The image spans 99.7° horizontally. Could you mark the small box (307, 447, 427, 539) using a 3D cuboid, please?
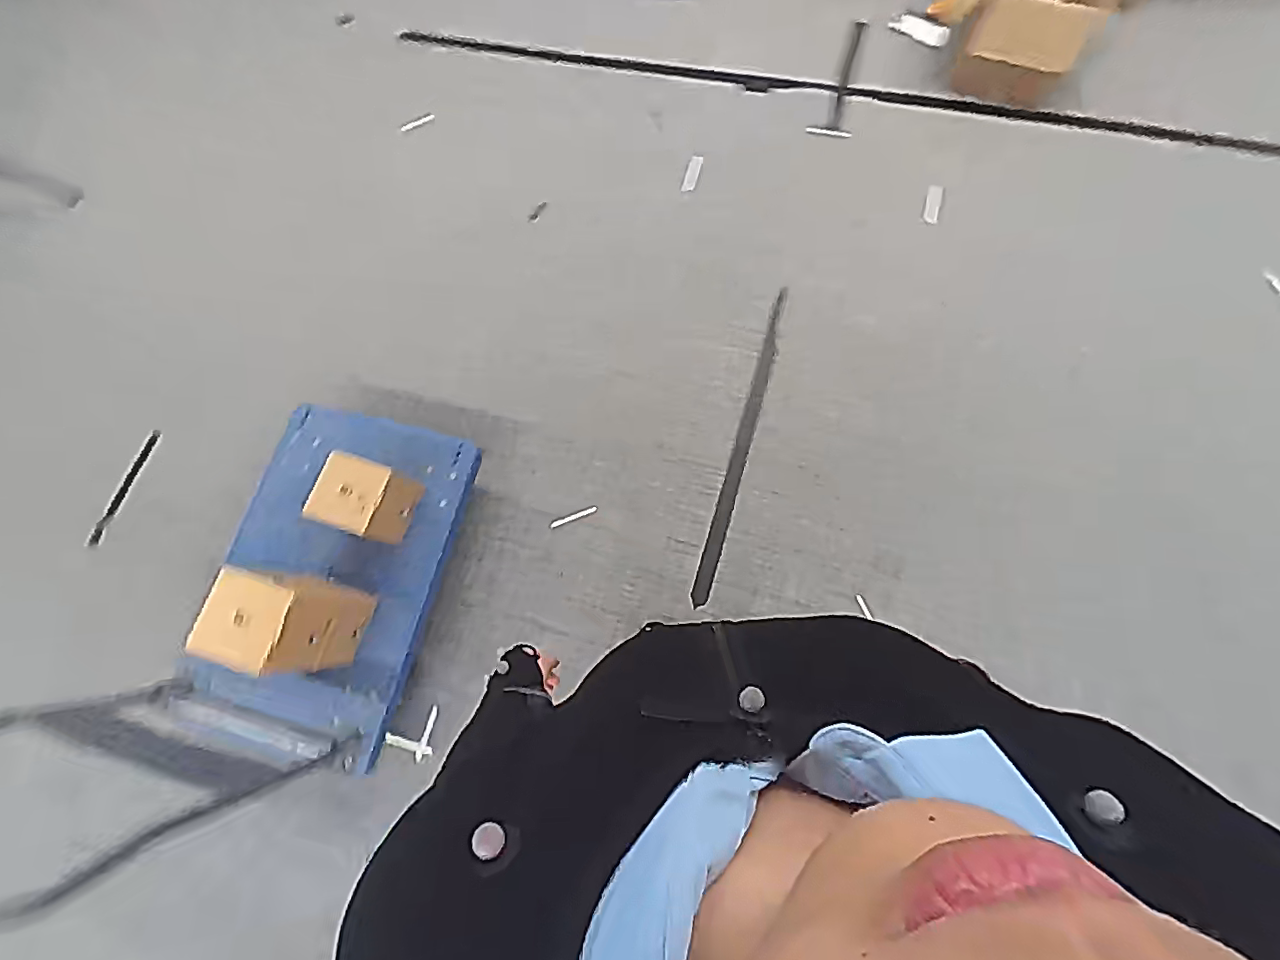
[{"bbox_3d":[-0.678,0.040,1.364,0.179,0.176,0.168,18,78,9],"label":"small box"}]

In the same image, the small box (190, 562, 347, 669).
[{"bbox_3d":[-0.766,0.286,1.135,0.179,0.176,0.168,16,76,8],"label":"small box"}]
